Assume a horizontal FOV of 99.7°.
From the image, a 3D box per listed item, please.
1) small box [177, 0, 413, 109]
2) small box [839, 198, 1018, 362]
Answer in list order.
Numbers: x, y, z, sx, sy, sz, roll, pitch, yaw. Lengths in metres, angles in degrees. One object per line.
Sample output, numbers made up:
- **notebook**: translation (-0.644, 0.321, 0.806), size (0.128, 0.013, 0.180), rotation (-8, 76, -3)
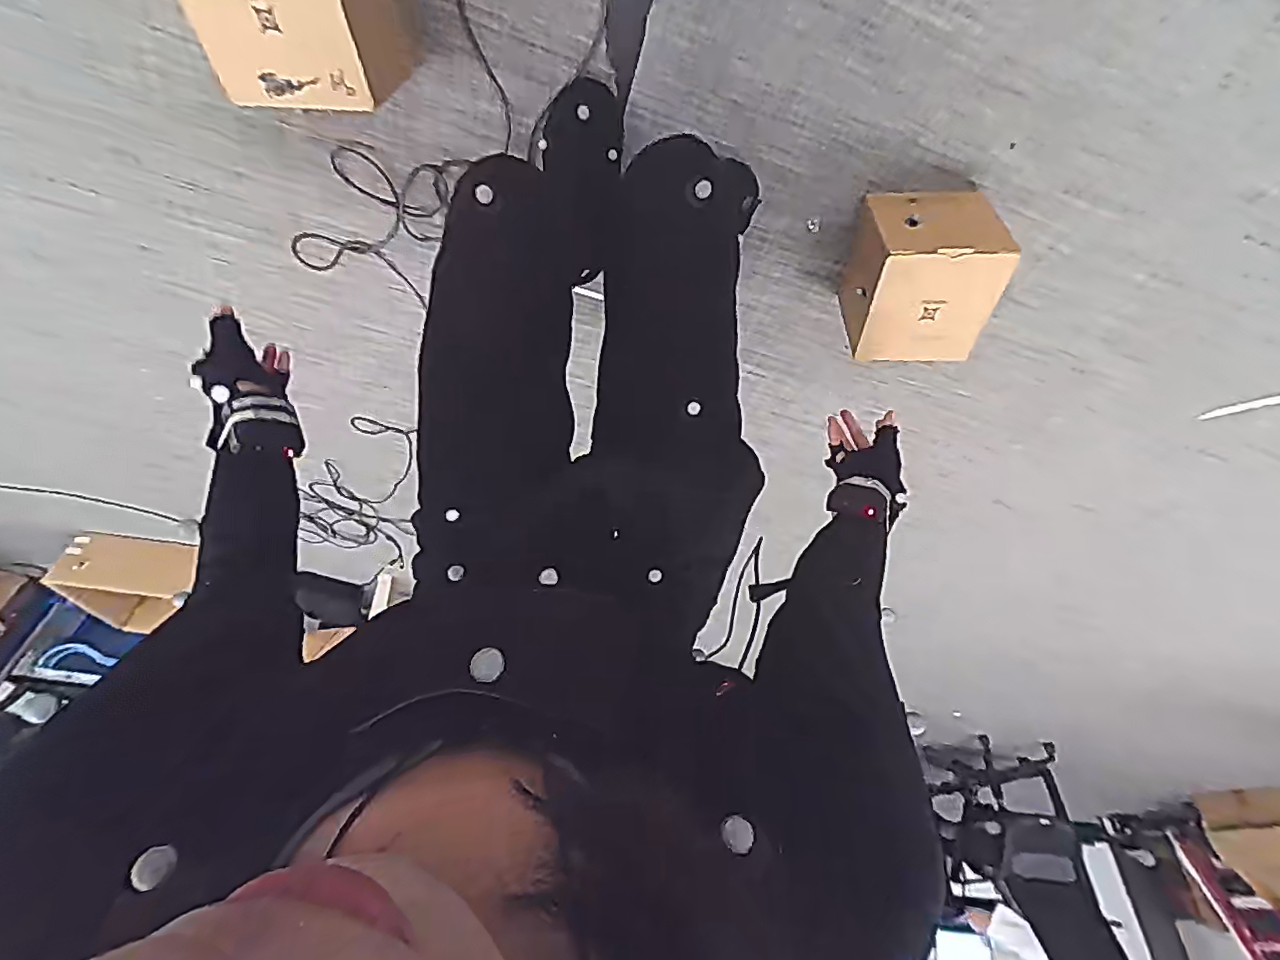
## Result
- **small box**: translation (-0.370, -0.530, 0.581), size (0.168, 0.176, 0.179), rotation (4, 141, 1)
- **small box**: translation (0.402, -0.295, 0.796), size (0.168, 0.176, 0.179), rotation (2, 142, 5)
